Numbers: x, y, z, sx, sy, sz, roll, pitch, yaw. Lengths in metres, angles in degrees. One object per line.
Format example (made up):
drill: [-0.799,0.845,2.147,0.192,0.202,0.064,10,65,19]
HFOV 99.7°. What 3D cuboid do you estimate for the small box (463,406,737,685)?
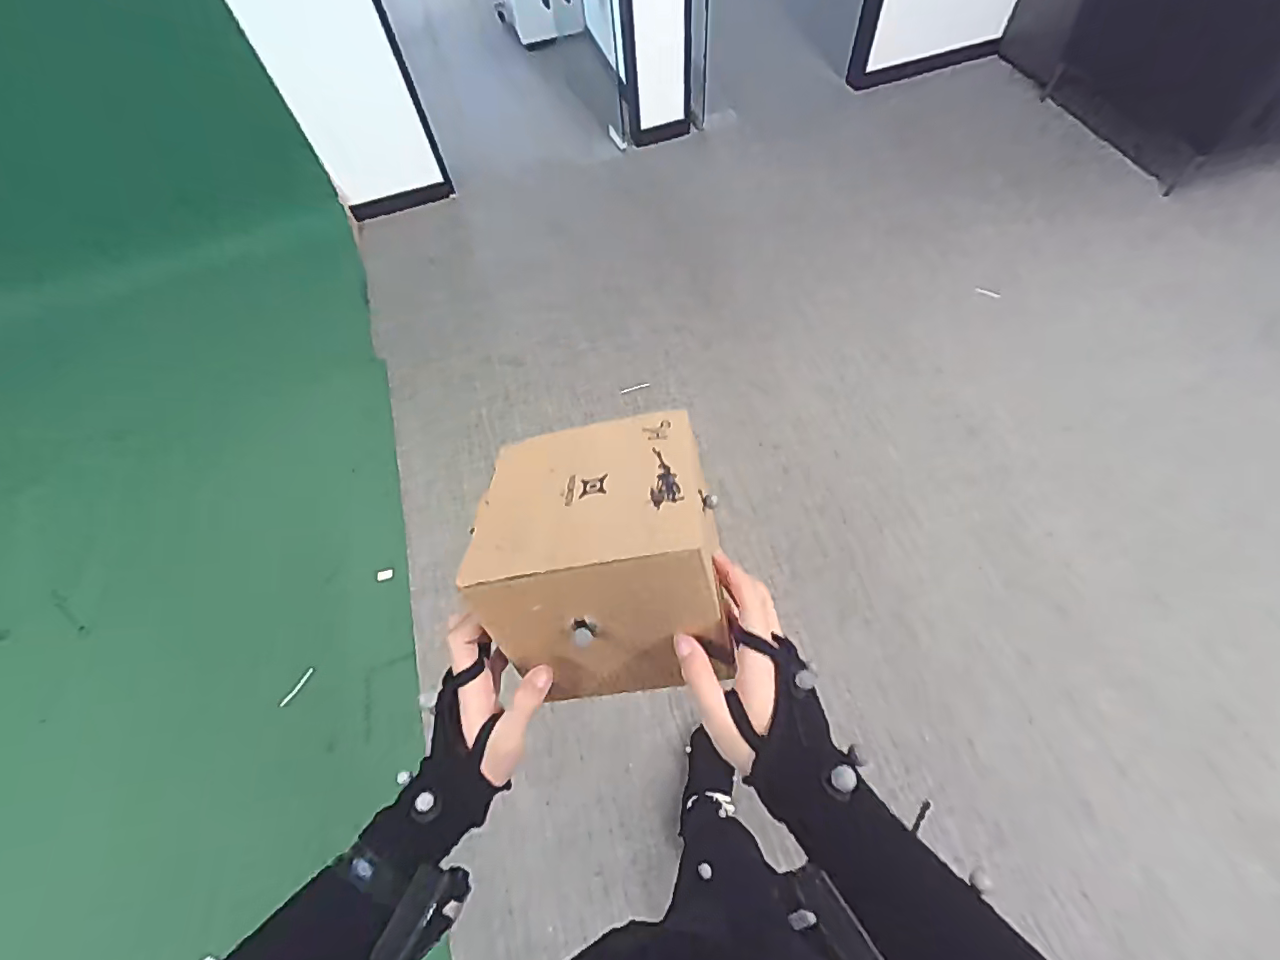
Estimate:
small box: [-0.022,0.063,0.481,0.179,0.176,0.168,-12,39,11]
